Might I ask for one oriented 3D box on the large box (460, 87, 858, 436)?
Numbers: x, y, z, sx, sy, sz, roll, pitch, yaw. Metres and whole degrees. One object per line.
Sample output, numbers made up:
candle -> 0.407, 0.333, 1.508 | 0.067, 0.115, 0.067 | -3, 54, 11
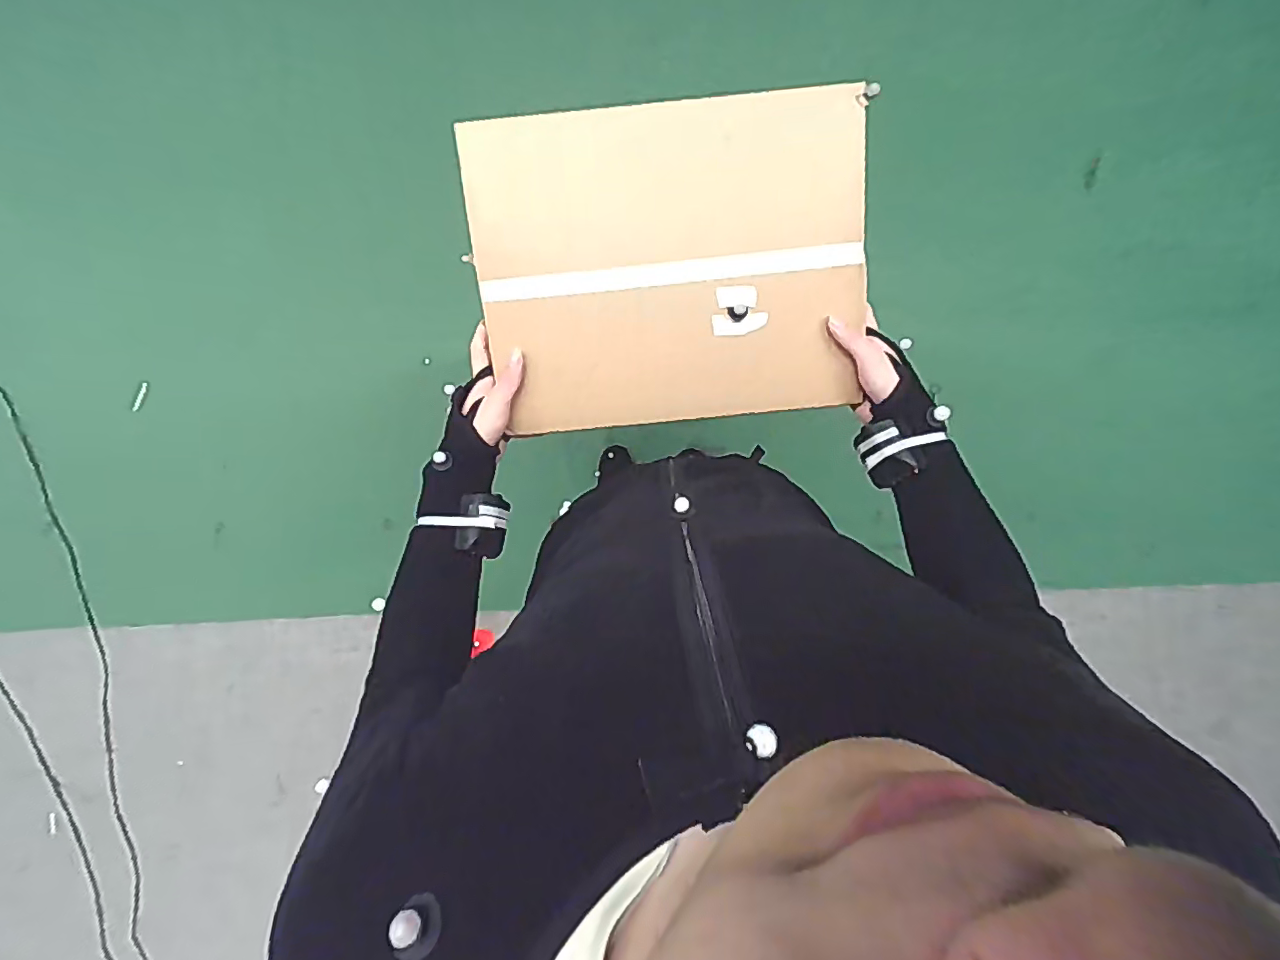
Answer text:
large box -> 0.027, -0.256, 0.719 | 0.408, 0.320, 0.320 | -6, 105, 0
